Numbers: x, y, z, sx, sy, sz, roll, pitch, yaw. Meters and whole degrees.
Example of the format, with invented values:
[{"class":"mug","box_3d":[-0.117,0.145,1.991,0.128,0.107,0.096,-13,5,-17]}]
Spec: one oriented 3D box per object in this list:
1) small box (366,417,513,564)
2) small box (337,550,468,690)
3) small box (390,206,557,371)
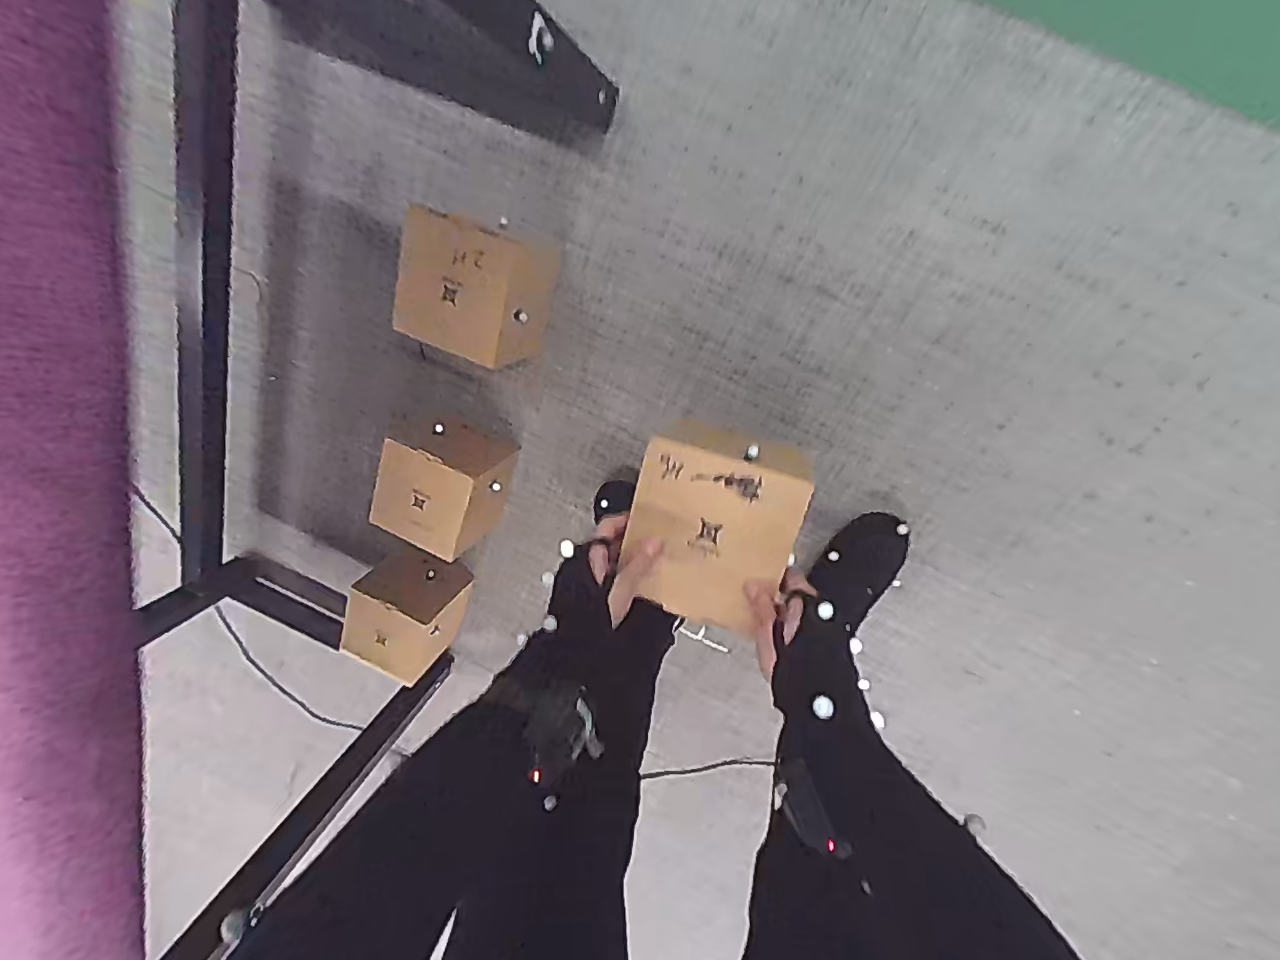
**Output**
[{"class":"small box","box_3d":[-0.344,0.008,0.954,0.168,0.176,0.179,26,115,5]},{"class":"small box","box_3d":[-0.472,0.275,1.090,0.168,0.176,0.179,25,114,5]},{"class":"small box","box_3d":[-0.242,-0.286,0.812,0.168,0.176,0.179,22,114,5]}]
